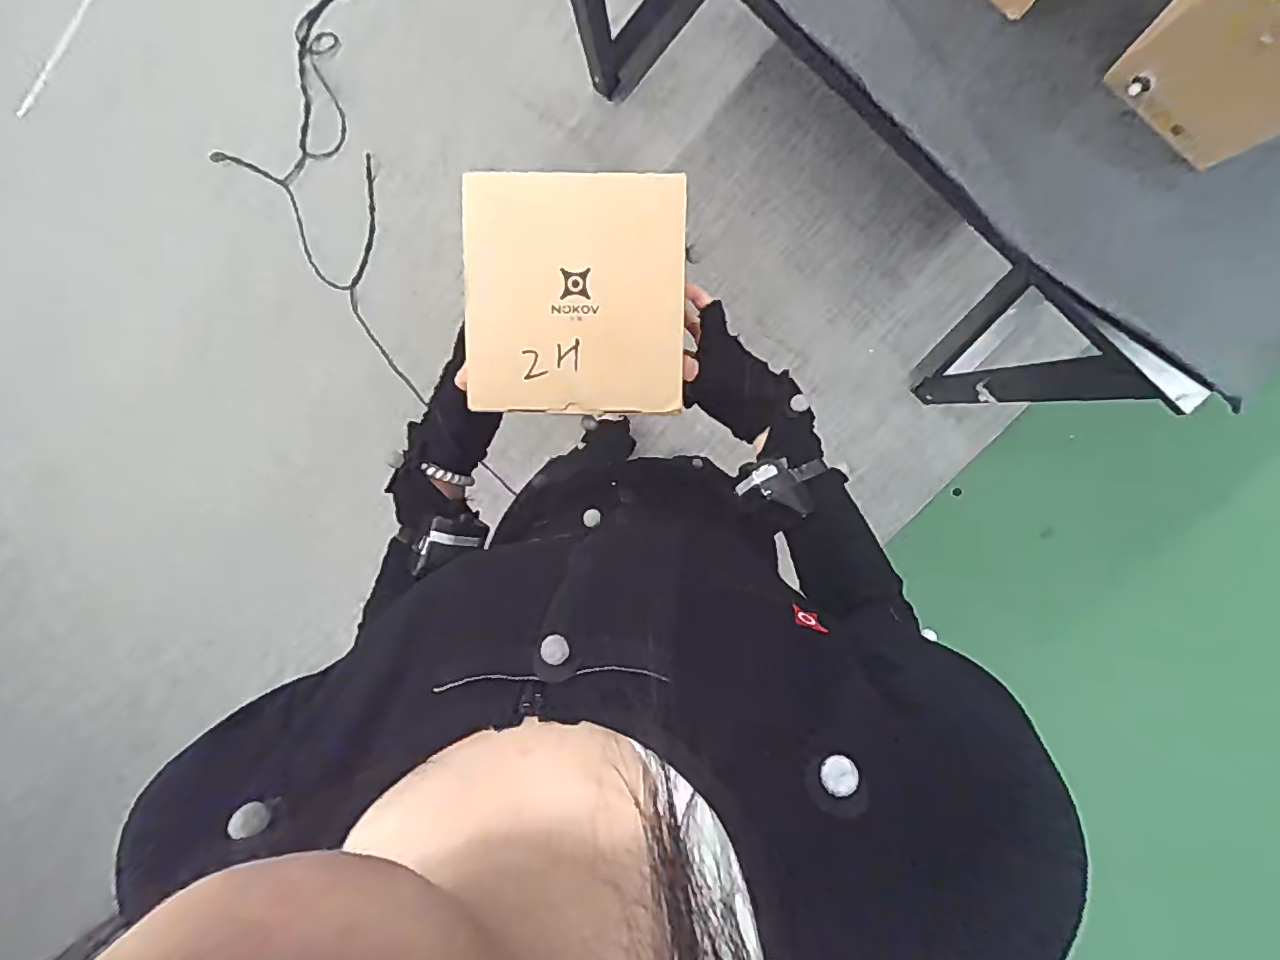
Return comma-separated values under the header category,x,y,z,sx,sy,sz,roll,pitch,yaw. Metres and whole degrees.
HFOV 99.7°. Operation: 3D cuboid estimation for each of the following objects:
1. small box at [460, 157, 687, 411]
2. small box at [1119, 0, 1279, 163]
category,x,y,z,sx,sy,sz,roll,pitch,yaw
small box,-0.050,-0.153,0.478,0.168,0.176,0.179,2,97,1
small box,0.657,-0.476,0.554,0.168,0.176,0.179,41,97,-2
